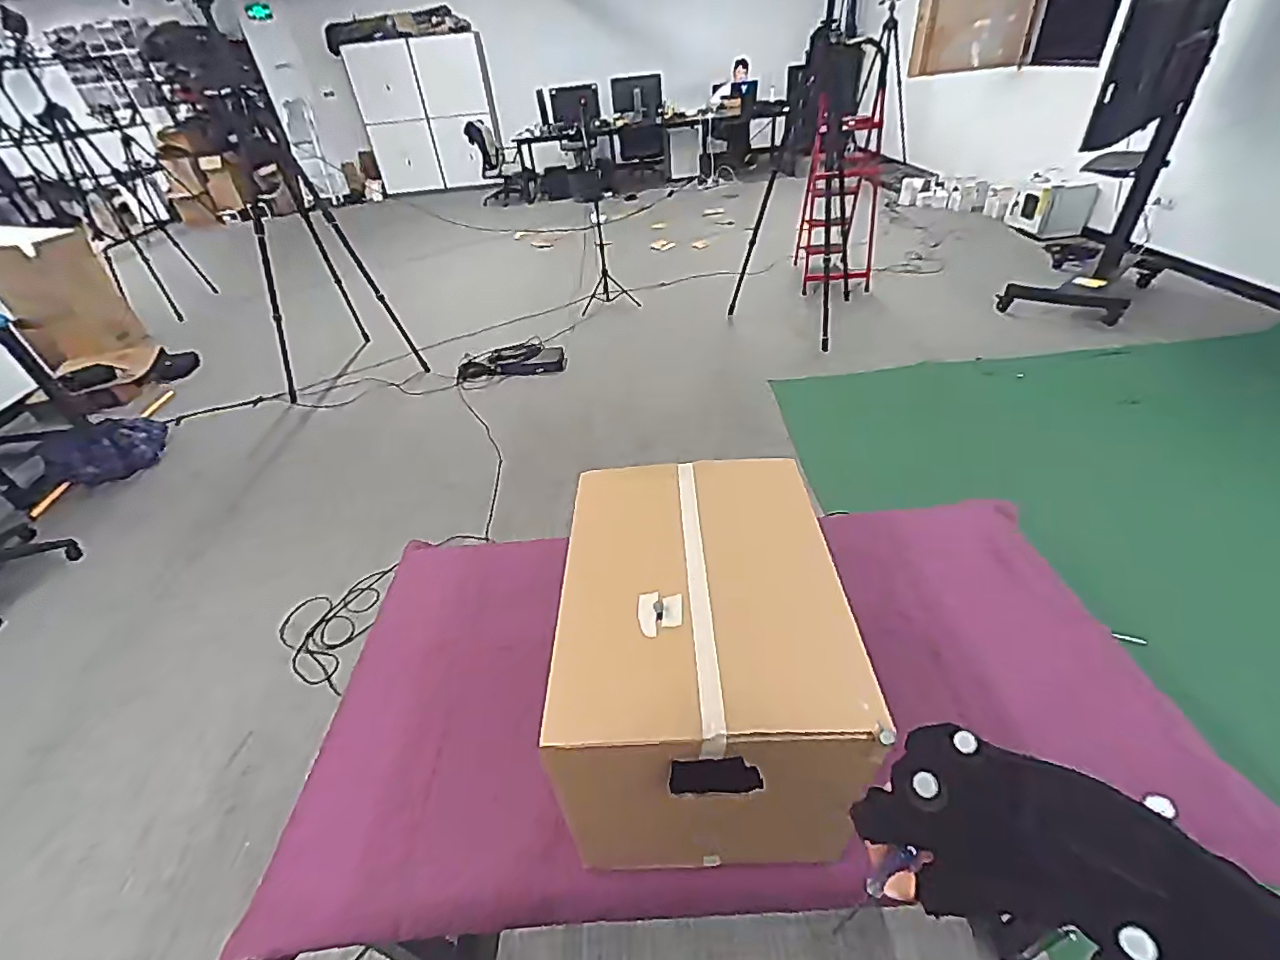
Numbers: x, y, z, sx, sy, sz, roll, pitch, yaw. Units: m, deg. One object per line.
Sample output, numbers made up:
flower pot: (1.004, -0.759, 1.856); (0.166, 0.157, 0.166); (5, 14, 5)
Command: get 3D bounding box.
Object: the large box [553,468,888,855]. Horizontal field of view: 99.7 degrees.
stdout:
large box: (0.079, 0.226, 0.734); (0.320, 0.320, 0.408); (-3, 39, 3)
